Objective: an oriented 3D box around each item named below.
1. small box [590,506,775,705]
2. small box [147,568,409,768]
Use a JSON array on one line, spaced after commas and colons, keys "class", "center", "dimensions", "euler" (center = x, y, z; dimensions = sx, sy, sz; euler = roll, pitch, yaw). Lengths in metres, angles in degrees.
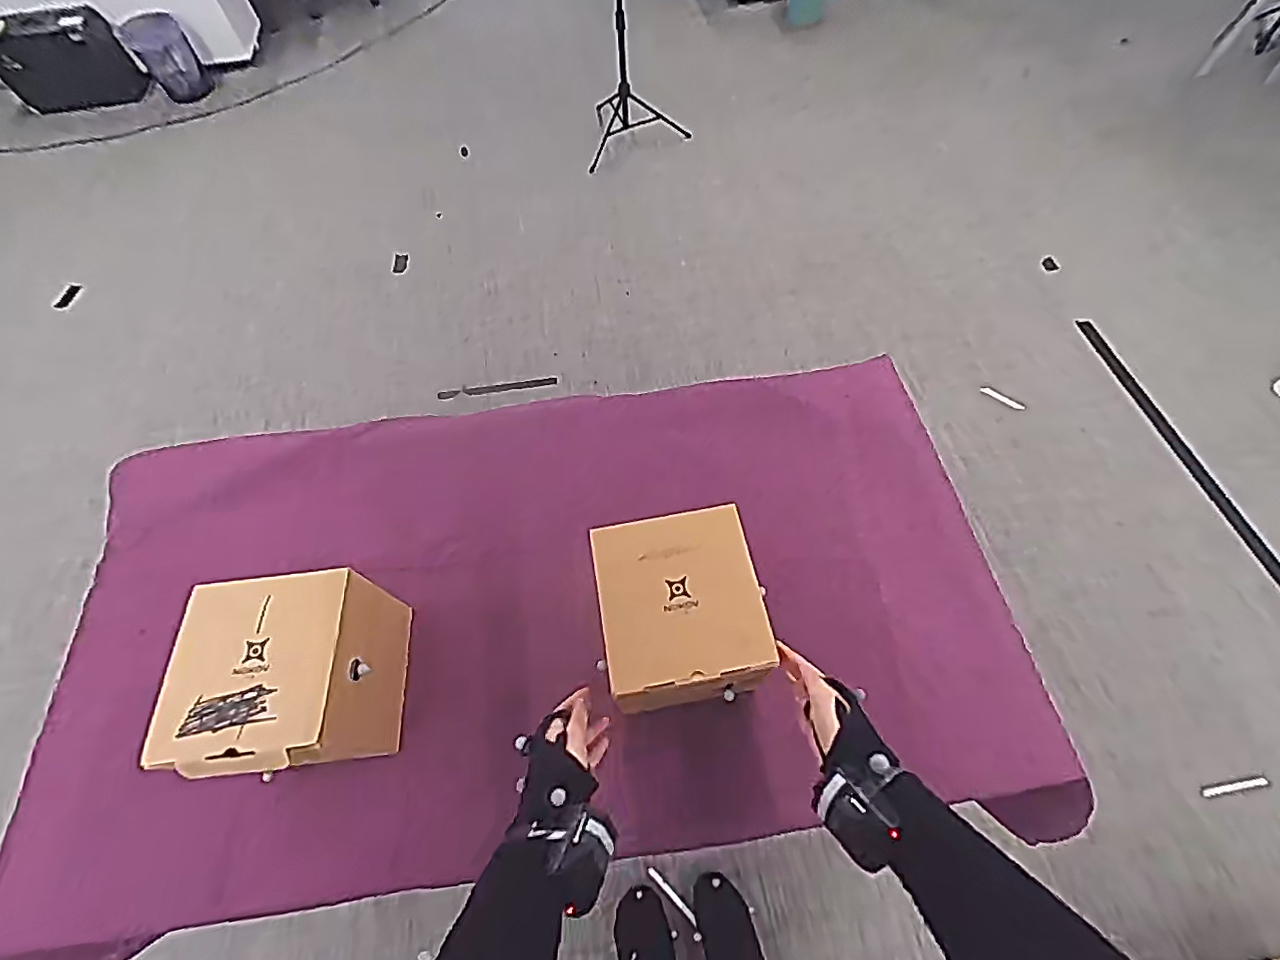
[{"class": "small box", "center": [0.042, 0.153, 0.623], "dimensions": [0.168, 0.176, 0.179], "euler": [-9, 61, -3]}, {"class": "small box", "center": [-0.377, 0.216, 0.606], "dimensions": [0.168, 0.176, 0.179], "euler": [-6, 61, -1]}]
